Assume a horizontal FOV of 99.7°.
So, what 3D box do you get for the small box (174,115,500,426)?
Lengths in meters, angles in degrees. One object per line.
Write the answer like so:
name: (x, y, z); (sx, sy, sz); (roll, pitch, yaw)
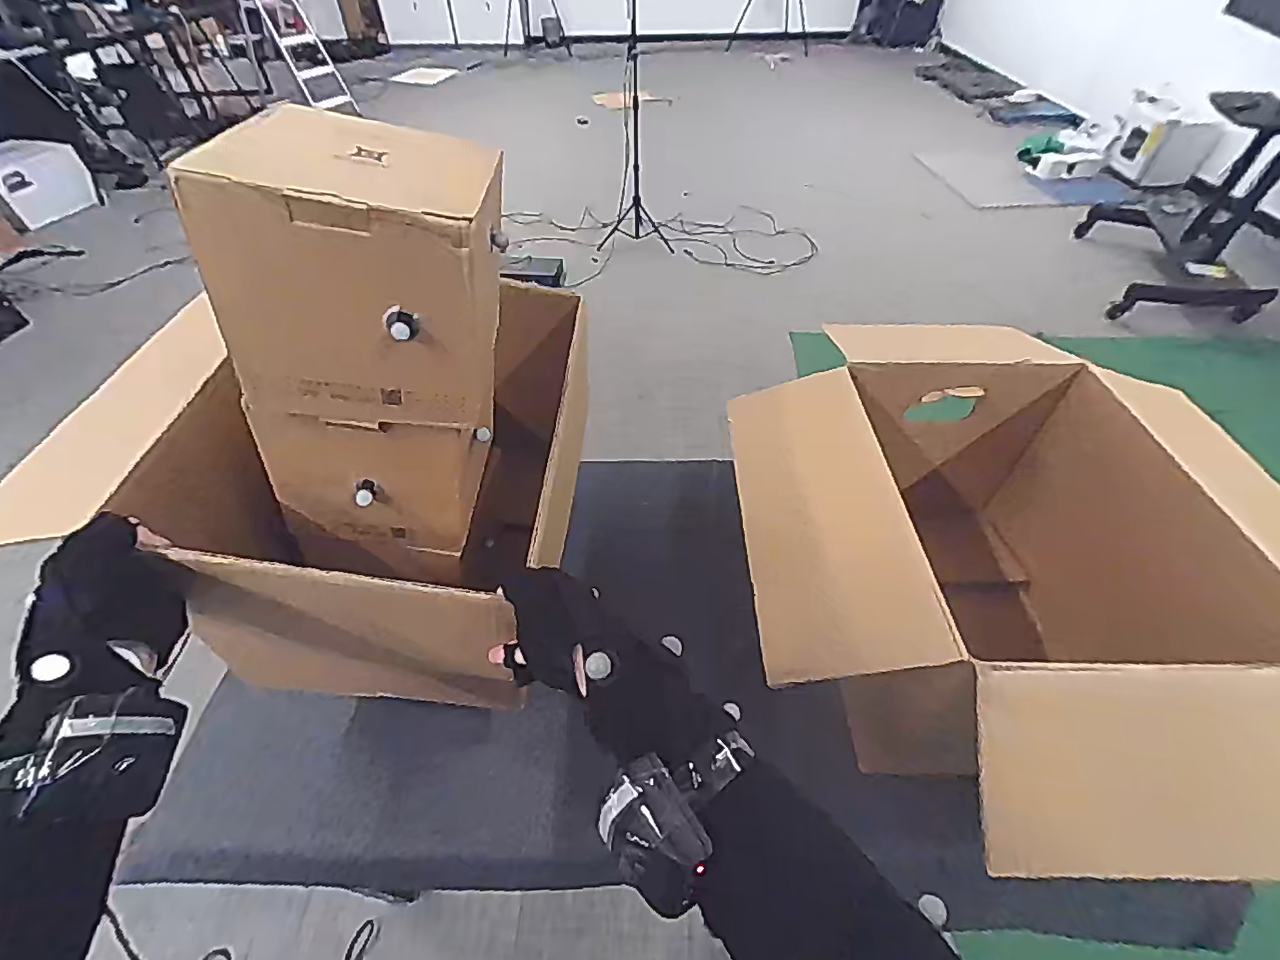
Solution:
small box: (-0.209, -0.163, 0.436); (0.168, 0.176, 0.179); (7, 42, -11)
